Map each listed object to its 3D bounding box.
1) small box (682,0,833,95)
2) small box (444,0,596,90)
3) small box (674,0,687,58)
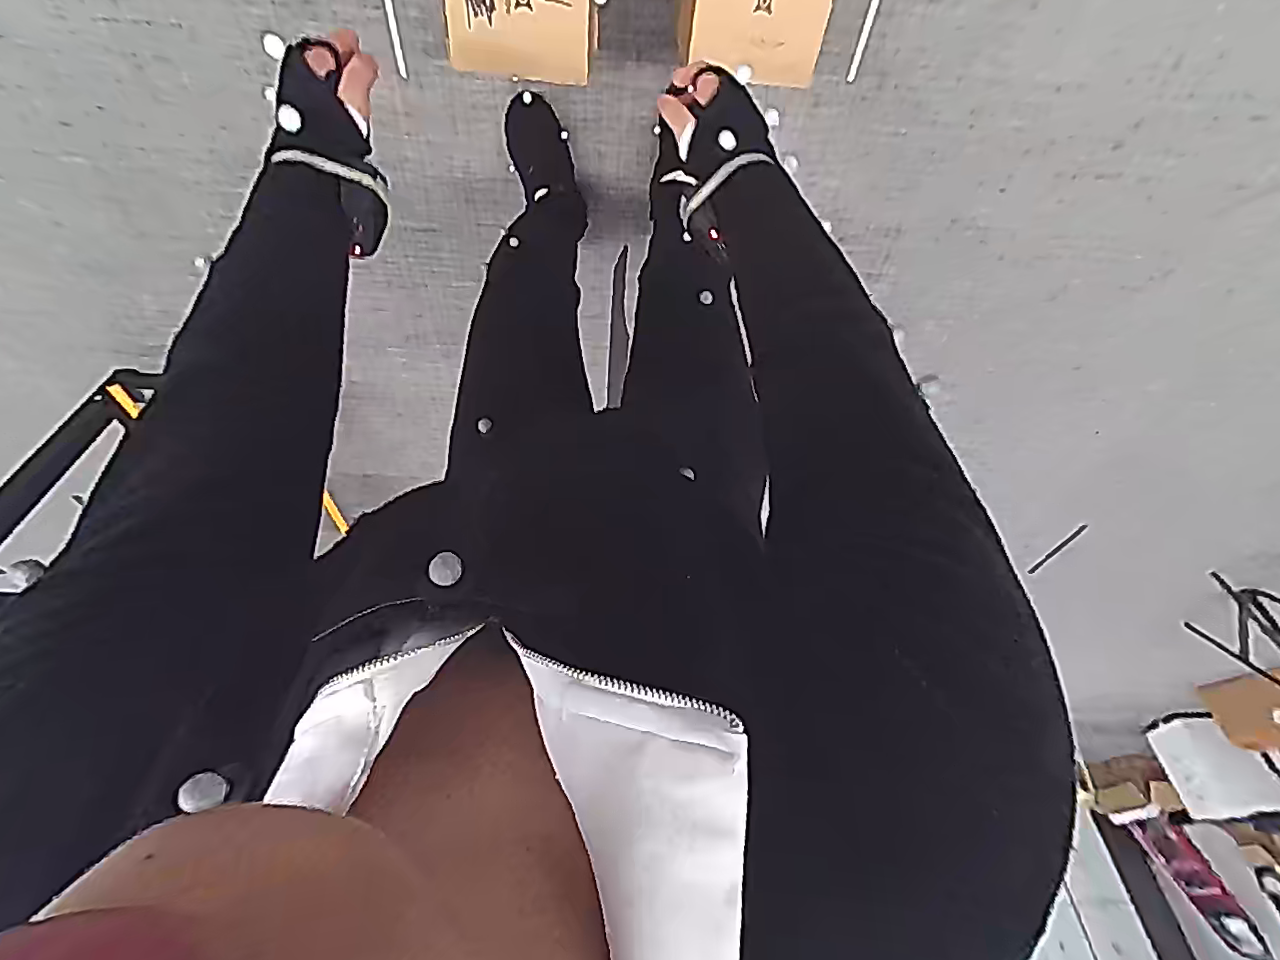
[{"bbox_3d":[0.148,-0.634,0.698,0.168,0.176,0.179,3,141,-4],"label":"small box"},{"bbox_3d":[-0.146,-0.631,0.691,0.179,0.176,0.168,4,140,-7],"label":"small box"},{"bbox_3d":[0.149,-0.752,0.811,0.179,0.176,0.168,1,140,-3],"label":"small box"}]
